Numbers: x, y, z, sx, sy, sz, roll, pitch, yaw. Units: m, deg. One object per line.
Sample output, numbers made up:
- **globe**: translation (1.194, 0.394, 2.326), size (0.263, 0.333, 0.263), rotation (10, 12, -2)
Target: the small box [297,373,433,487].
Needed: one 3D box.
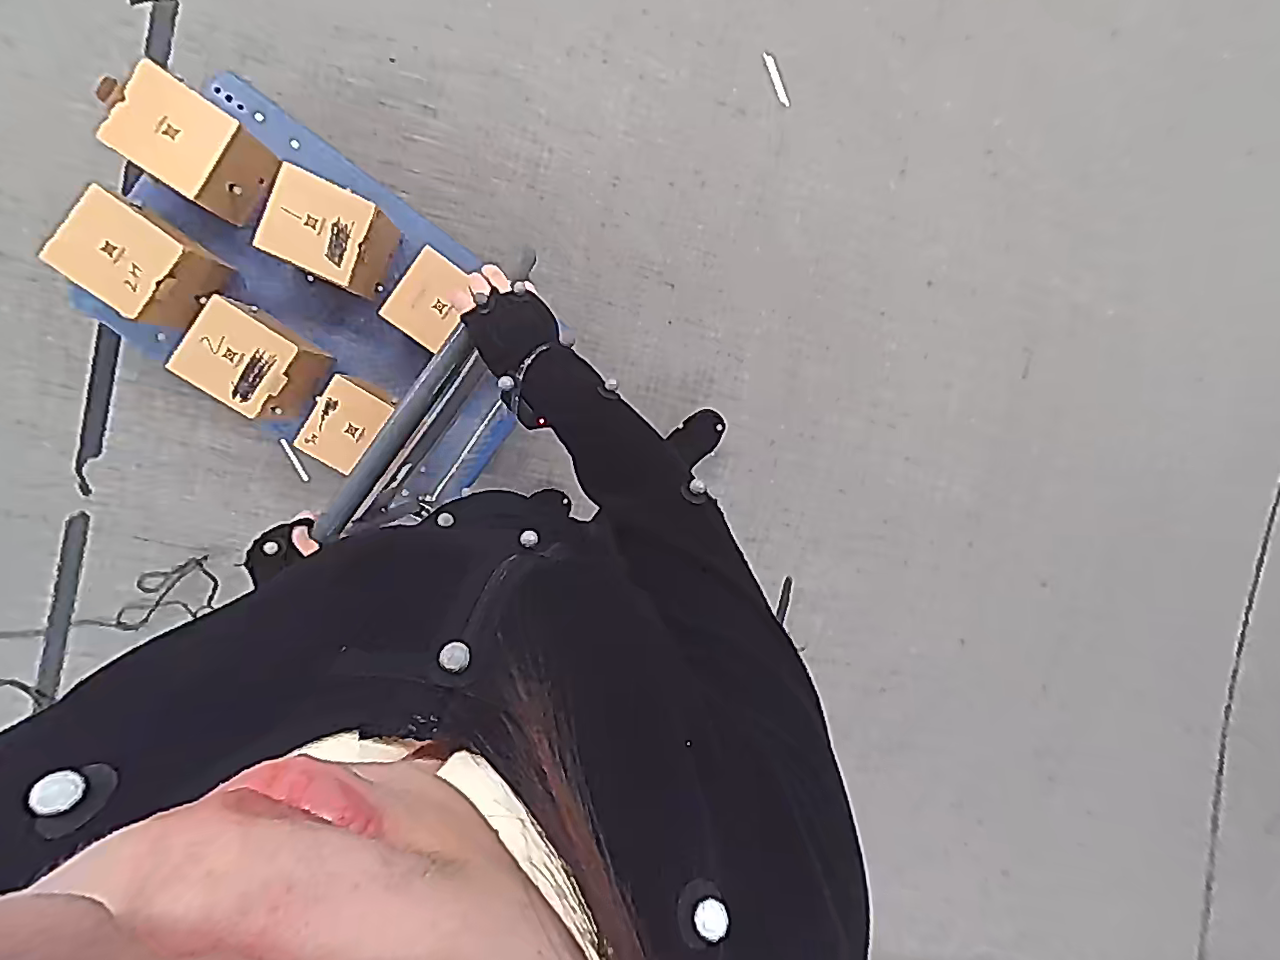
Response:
- **small box**: translation (-0.563, -0.109, 1.138), size (0.179, 0.176, 0.168), rotation (32, 91, -12)

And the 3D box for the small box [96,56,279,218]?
- **small box**: translation (-0.837, -0.628, 1.023), size (0.179, 0.176, 0.168), rotation (32, 92, -12)

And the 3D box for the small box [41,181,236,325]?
- **small box**: translation (-0.941, -0.417, 1.034), size (0.179, 0.176, 0.168), rotation (37, 91, -13)

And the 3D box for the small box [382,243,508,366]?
- **small box**: translation (-0.395, -0.355, 1.132), size (0.179, 0.176, 0.168), rotation (36, 91, -11)

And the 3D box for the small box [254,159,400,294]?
- **small box**: translation (-0.609, -0.488, 1.078), size (0.179, 0.176, 0.168), rotation (23, 94, -11)
